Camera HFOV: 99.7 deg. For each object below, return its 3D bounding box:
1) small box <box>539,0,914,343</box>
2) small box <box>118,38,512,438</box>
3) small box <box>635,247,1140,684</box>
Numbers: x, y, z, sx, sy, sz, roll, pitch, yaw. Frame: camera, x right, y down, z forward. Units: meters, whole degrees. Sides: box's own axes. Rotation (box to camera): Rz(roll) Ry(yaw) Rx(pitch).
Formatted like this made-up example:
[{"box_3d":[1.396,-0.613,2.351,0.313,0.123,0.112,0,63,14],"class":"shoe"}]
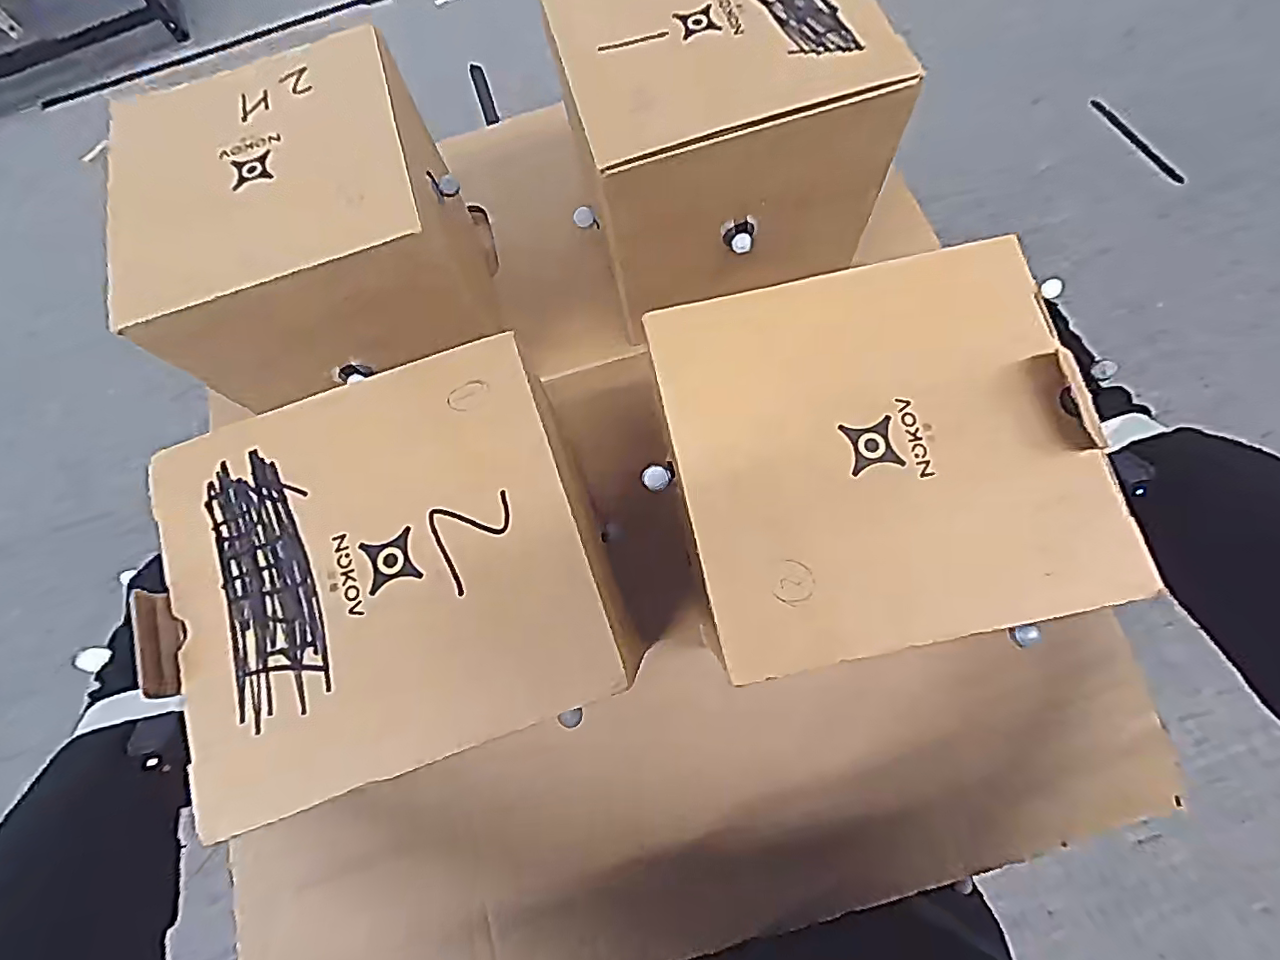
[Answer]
[{"box_3d":[0.048,-0.223,0.378,0.179,0.176,0.168,-16,71,2],"class":"small box"},{"box_3d":[-0.204,-0.145,0.380,0.168,0.176,0.179,-18,70,-1],"class":"small box"},{"box_3d":[0.102,0.005,0.309,0.179,0.176,0.168,-12,78,0],"class":"small box"}]
